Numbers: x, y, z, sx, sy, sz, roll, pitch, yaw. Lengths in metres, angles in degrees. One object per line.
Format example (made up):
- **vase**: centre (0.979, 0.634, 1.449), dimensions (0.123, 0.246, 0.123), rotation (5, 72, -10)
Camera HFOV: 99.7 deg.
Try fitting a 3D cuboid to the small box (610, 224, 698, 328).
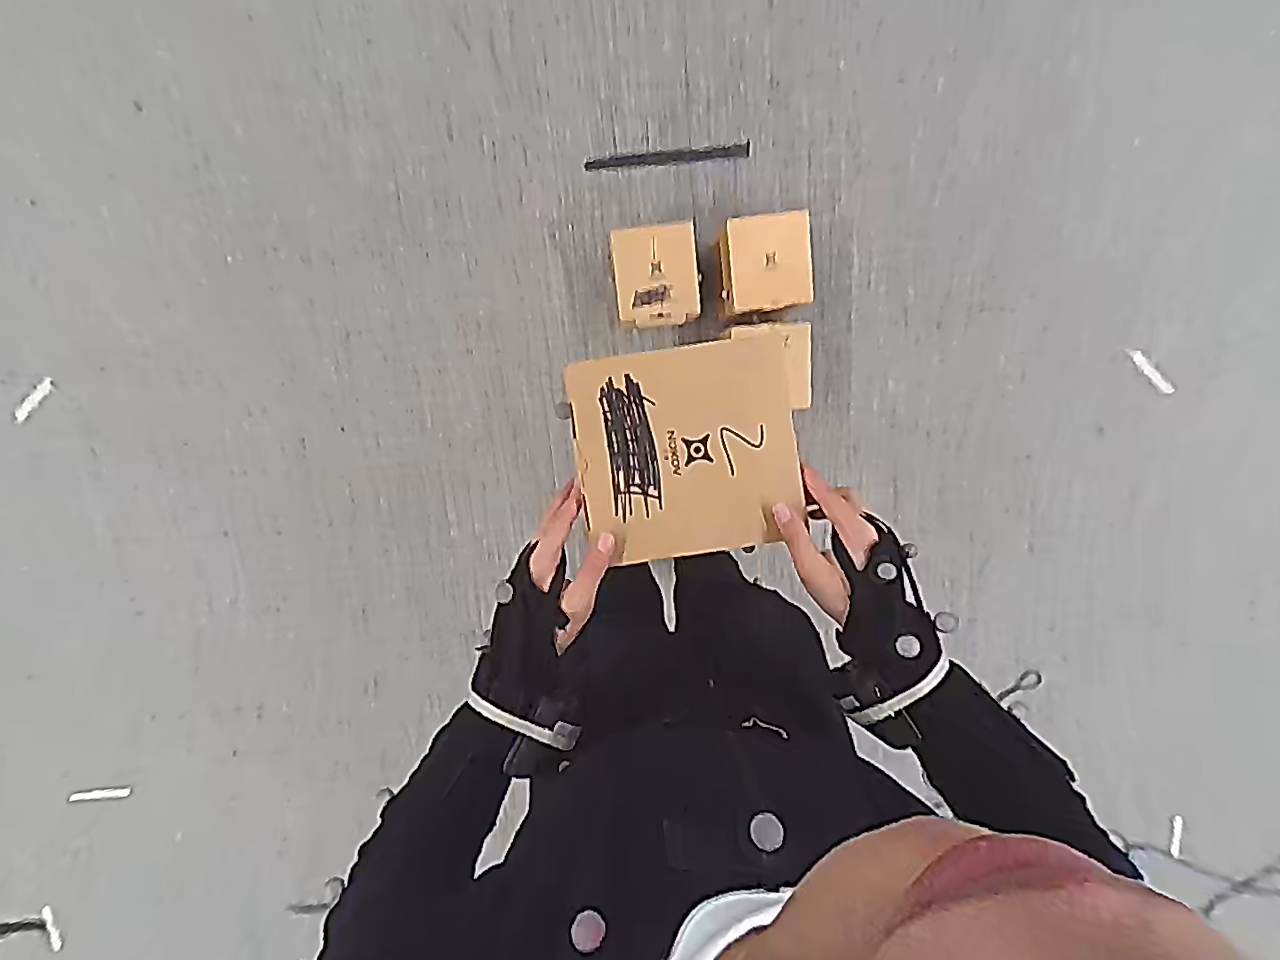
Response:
- **small box**: centre (0.028, -0.424, 1.152), dimensions (0.168, 0.176, 0.179), rotation (-6, 99, -1)
